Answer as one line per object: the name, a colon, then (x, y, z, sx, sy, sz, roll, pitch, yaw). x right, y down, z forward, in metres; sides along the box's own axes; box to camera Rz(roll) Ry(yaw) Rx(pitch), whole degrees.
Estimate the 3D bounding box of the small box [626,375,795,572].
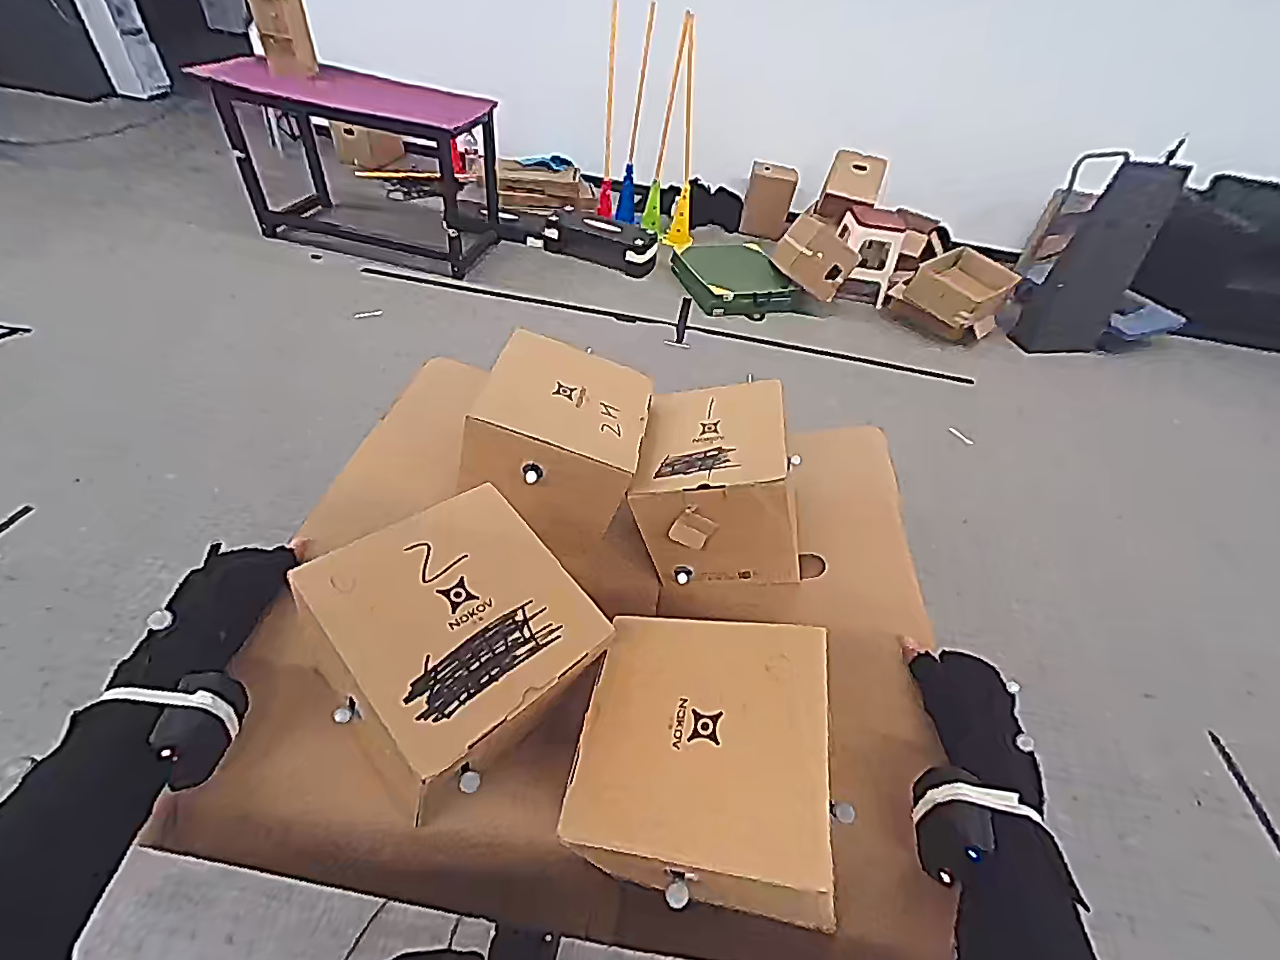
small box: (0.097, -0.001, 0.659, 0.168, 0.176, 0.179, -5, 43, 17)
